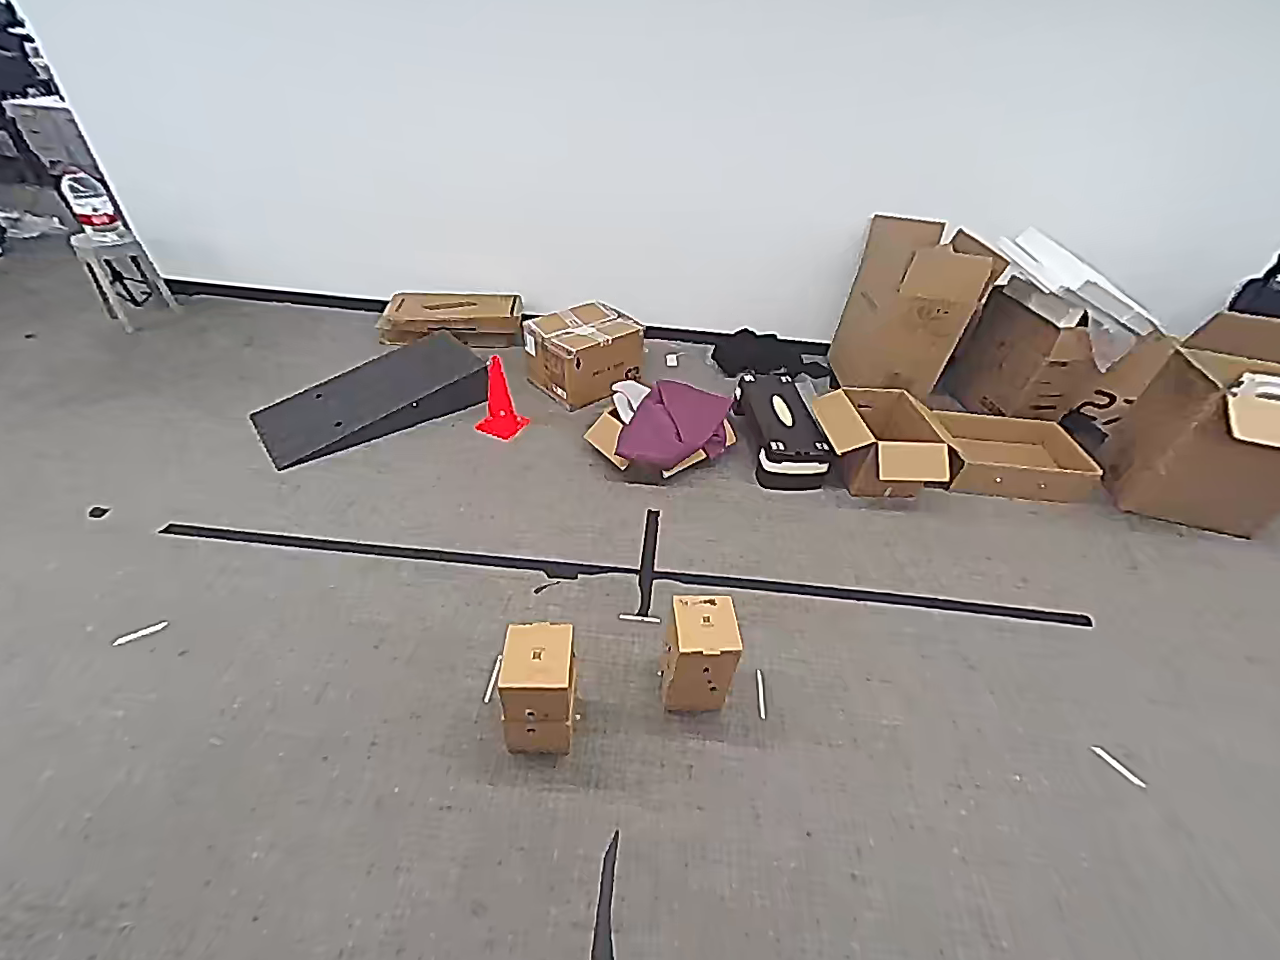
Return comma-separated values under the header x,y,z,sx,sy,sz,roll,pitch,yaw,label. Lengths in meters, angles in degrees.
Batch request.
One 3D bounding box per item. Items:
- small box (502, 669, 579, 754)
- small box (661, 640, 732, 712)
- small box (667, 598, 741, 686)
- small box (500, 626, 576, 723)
x,y,z,sx,sy,sz,roll,pitch,yaw,label
-0.262,0.623,1.461,0.179,0.176,0.168,4,40,-2,small box
0.159,0.562,1.582,0.179,0.176,0.168,2,40,-4,small box
0.168,0.443,1.470,0.168,0.176,0.179,1,41,-5,small box
-0.251,0.491,1.365,0.168,0.176,0.179,1,41,-3,small box
